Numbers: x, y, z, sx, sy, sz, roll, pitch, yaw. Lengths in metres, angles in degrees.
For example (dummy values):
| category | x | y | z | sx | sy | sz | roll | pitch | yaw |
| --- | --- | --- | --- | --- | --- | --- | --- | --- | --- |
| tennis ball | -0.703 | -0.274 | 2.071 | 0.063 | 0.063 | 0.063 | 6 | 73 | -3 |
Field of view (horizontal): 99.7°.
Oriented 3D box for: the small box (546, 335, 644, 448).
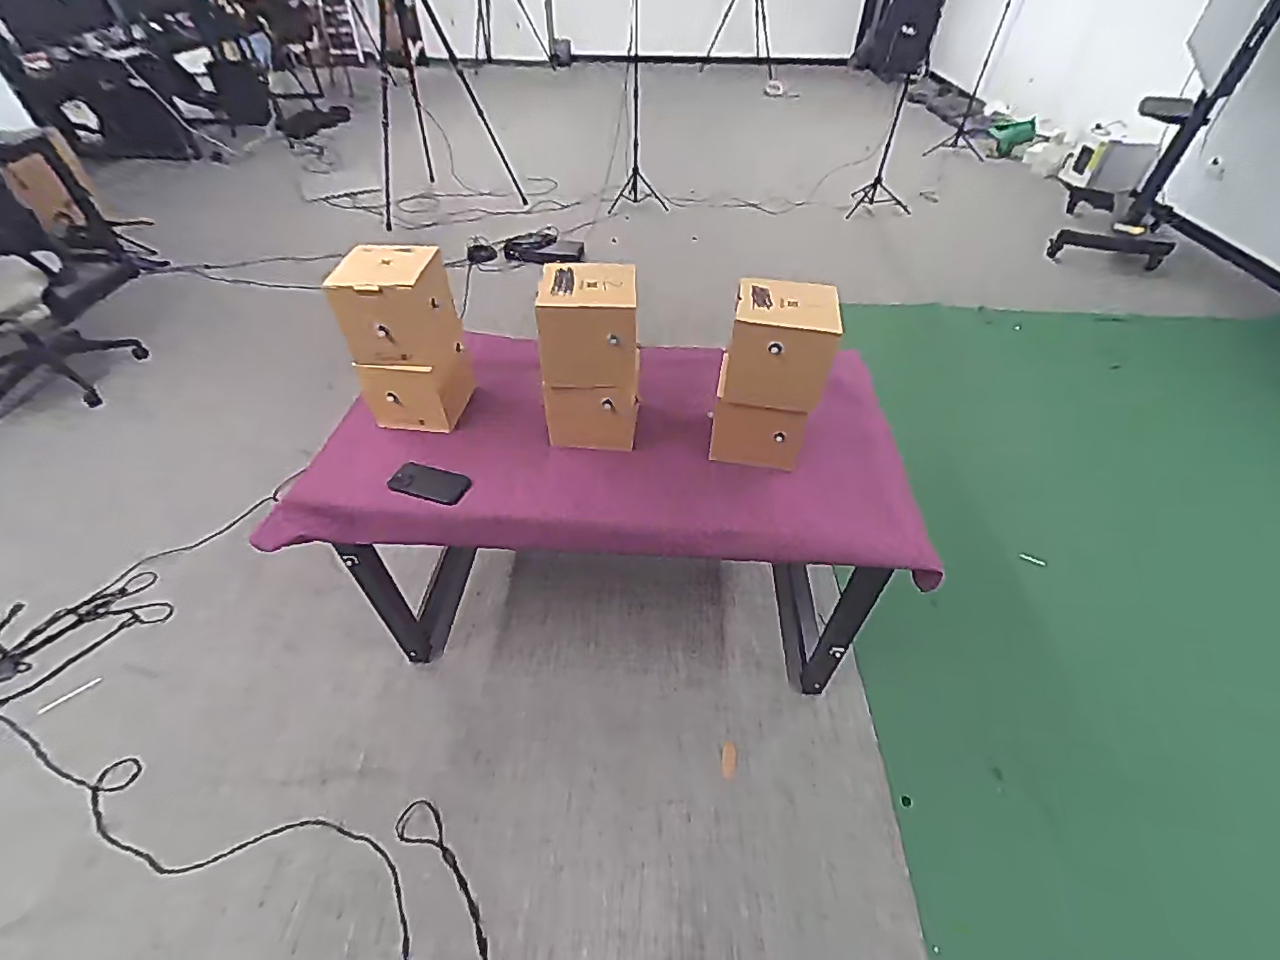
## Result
| category | x | y | z | sx | sy | sz | roll | pitch | yaw |
| --- | --- | --- | --- | --- | --- | --- | --- | --- | --- |
| small box | -0.089 | -0.184 | 1.145 | 0.179 | 0.176 | 0.168 | 5 | 46 | 4 |

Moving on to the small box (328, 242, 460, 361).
| category | x | y | z | sx | sy | sz | roll | pitch | yaw |
| --- | --- | --- | --- | --- | --- | --- | --- | --- | --- |
| small box | -0.472 | -0.351 | 1.073 | 0.168 | 0.176 | 0.179 | 2 | 47 | 0 |

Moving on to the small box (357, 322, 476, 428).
| category | x | y | z | sx | sy | sz | roll | pitch | yaw |
| --- | --- | --- | --- | --- | --- | --- | --- | --- | --- |
| small box | -0.475 | -0.231 | 1.186 | 0.168 | 0.176 | 0.179 | 5 | 46 | 4 |

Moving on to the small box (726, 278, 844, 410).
| category | x | y | z | sx | sy | sz | roll | pitch | yaw |
| --- | --- | --- | --- | --- | --- | --- | --- | --- | --- |
| small box | 0.257 | -0.246 | 0.985 | 0.179 | 0.176 | 0.168 | 10 | 46 | 7 |

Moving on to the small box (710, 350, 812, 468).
| category | x | y | z | sx | sy | sz | roll | pitch | yaw |
| --- | --- | --- | --- | --- | --- | --- | --- | --- | --- |
| small box | 0.249 | -0.144 | 1.114 | 0.179 | 0.176 | 0.168 | 9 | 46 | 9 |
